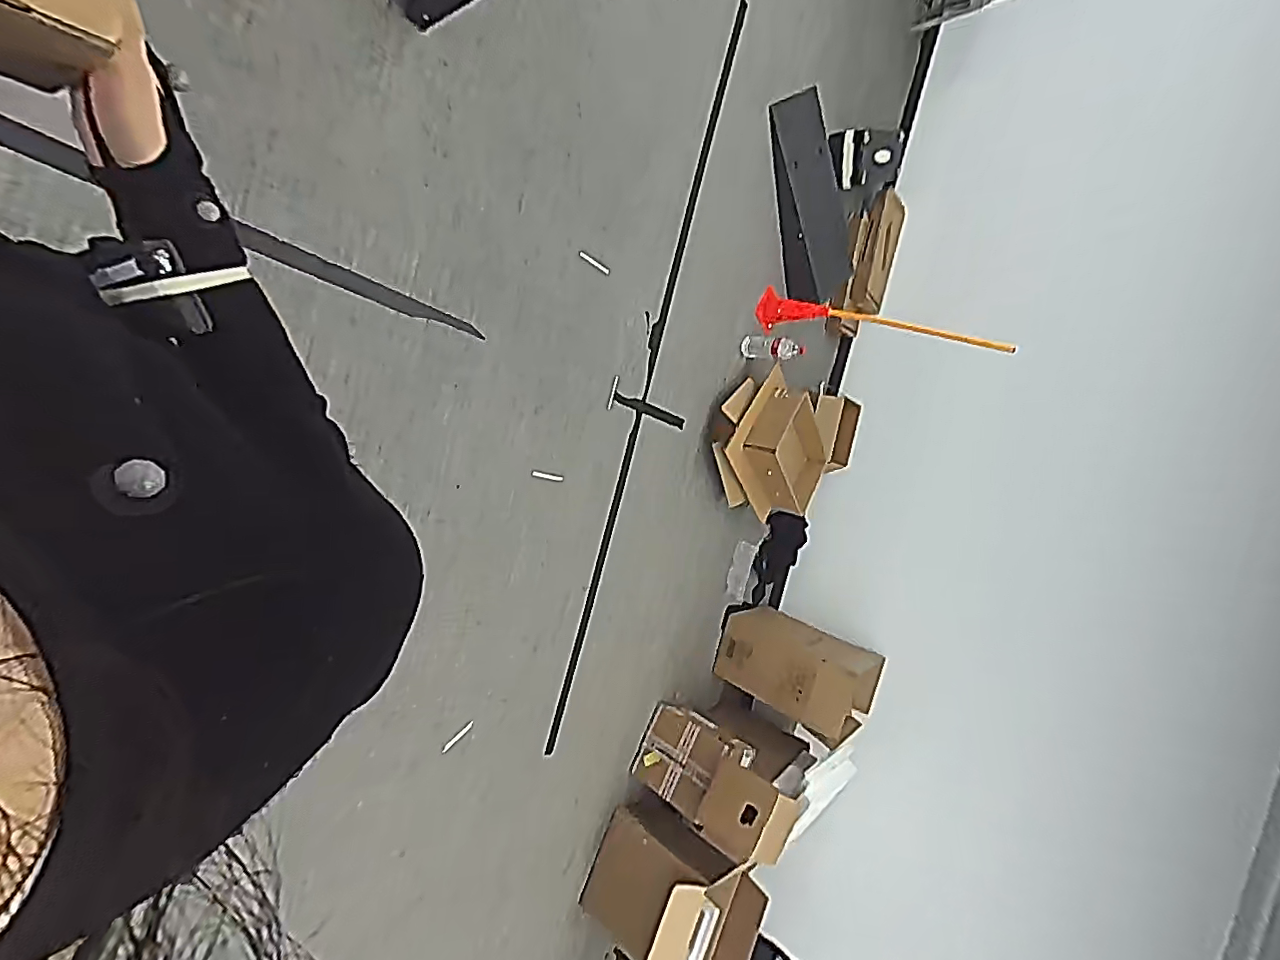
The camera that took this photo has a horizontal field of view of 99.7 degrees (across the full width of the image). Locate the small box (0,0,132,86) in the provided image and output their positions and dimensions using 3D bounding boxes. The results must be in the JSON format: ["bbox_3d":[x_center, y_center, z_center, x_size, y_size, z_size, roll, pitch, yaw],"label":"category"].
[{"bbox_3d":[-0.348,-0.308,0.233,0.168,0.176,0.179,-6,111,-55],"label":"small box"}]
